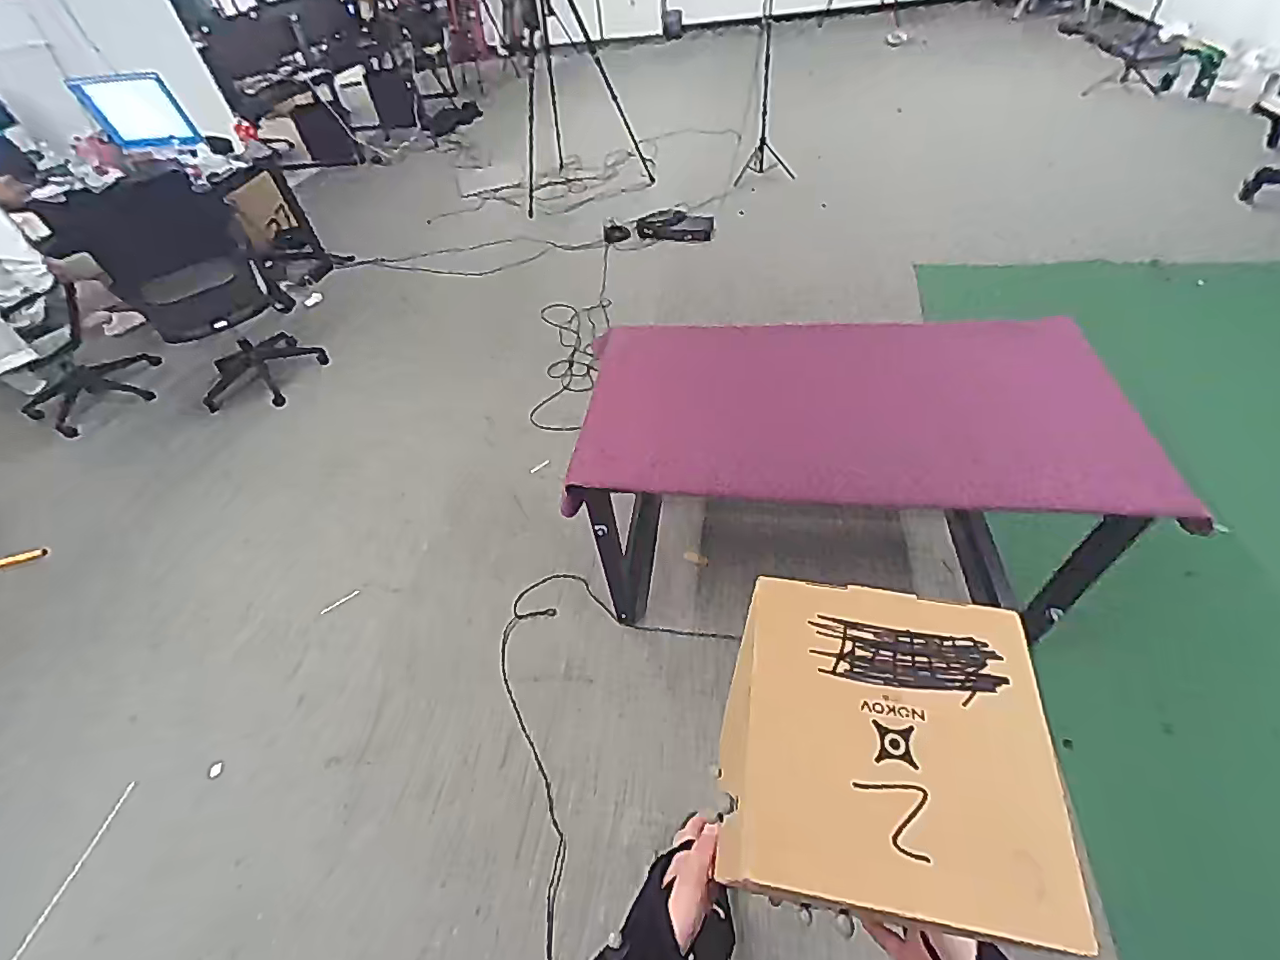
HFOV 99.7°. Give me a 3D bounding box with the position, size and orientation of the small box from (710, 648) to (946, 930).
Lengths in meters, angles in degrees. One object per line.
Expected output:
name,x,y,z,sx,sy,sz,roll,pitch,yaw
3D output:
small box,0.157,0.282,0.501,0.168,0.176,0.179,7,54,9
